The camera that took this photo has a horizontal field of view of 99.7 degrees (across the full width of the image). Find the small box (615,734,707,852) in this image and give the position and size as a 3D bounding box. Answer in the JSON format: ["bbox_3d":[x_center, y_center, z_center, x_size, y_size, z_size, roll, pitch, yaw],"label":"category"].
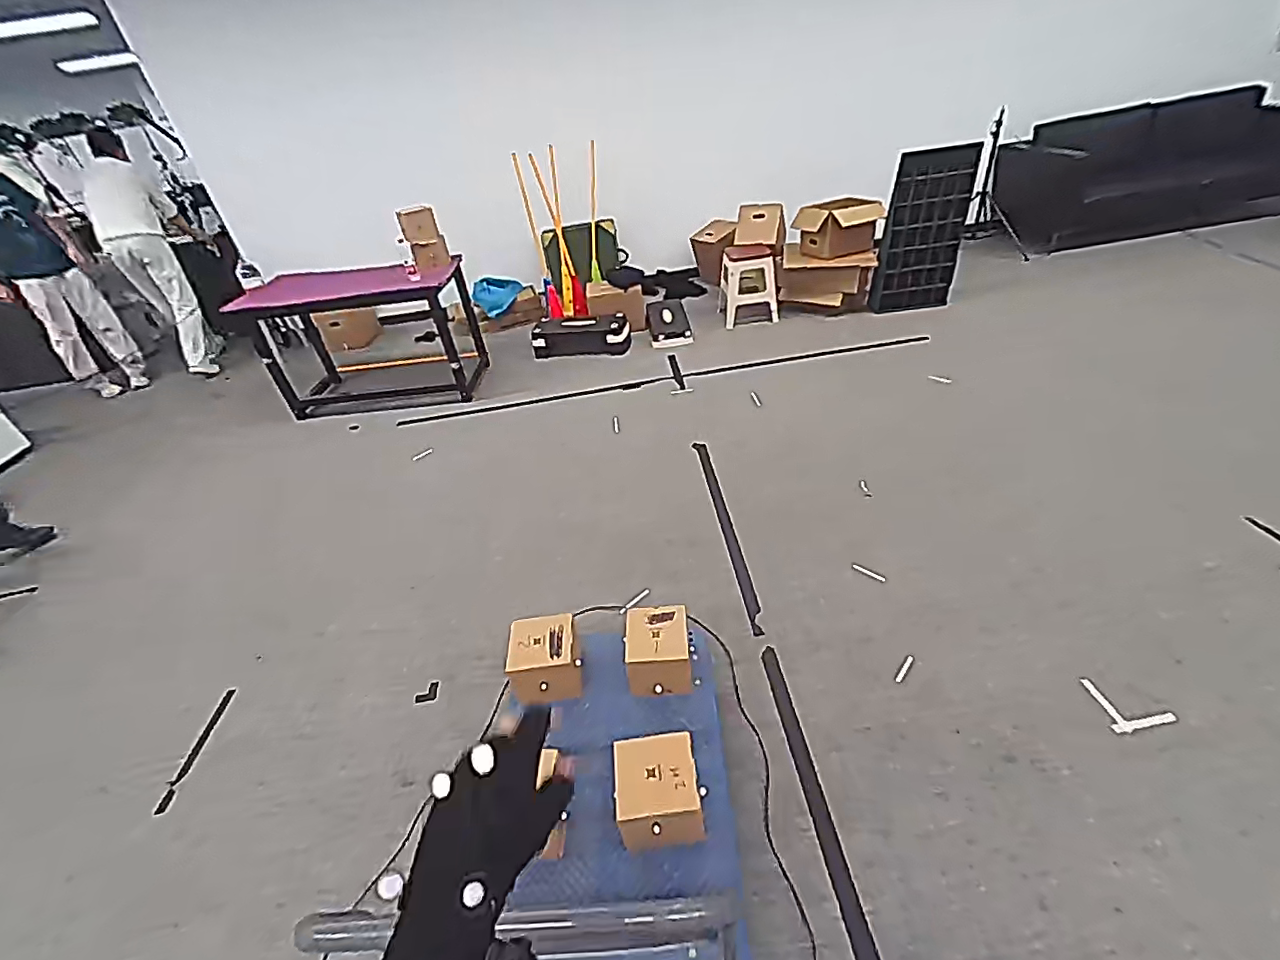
[{"bbox_3d":[0.046,0.696,1.199,0.179,0.176,0.168,-8,36,1],"label":"small box"}]

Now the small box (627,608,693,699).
[{"bbox_3d":[0.056,0.477,1.491,0.168,0.176,0.179,-5,38,5],"label":"small box"}]

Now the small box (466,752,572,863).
[{"bbox_3d":[-0.261,0.734,1.211,0.179,0.176,0.168,-3,36,5],"label":"small box"}]
